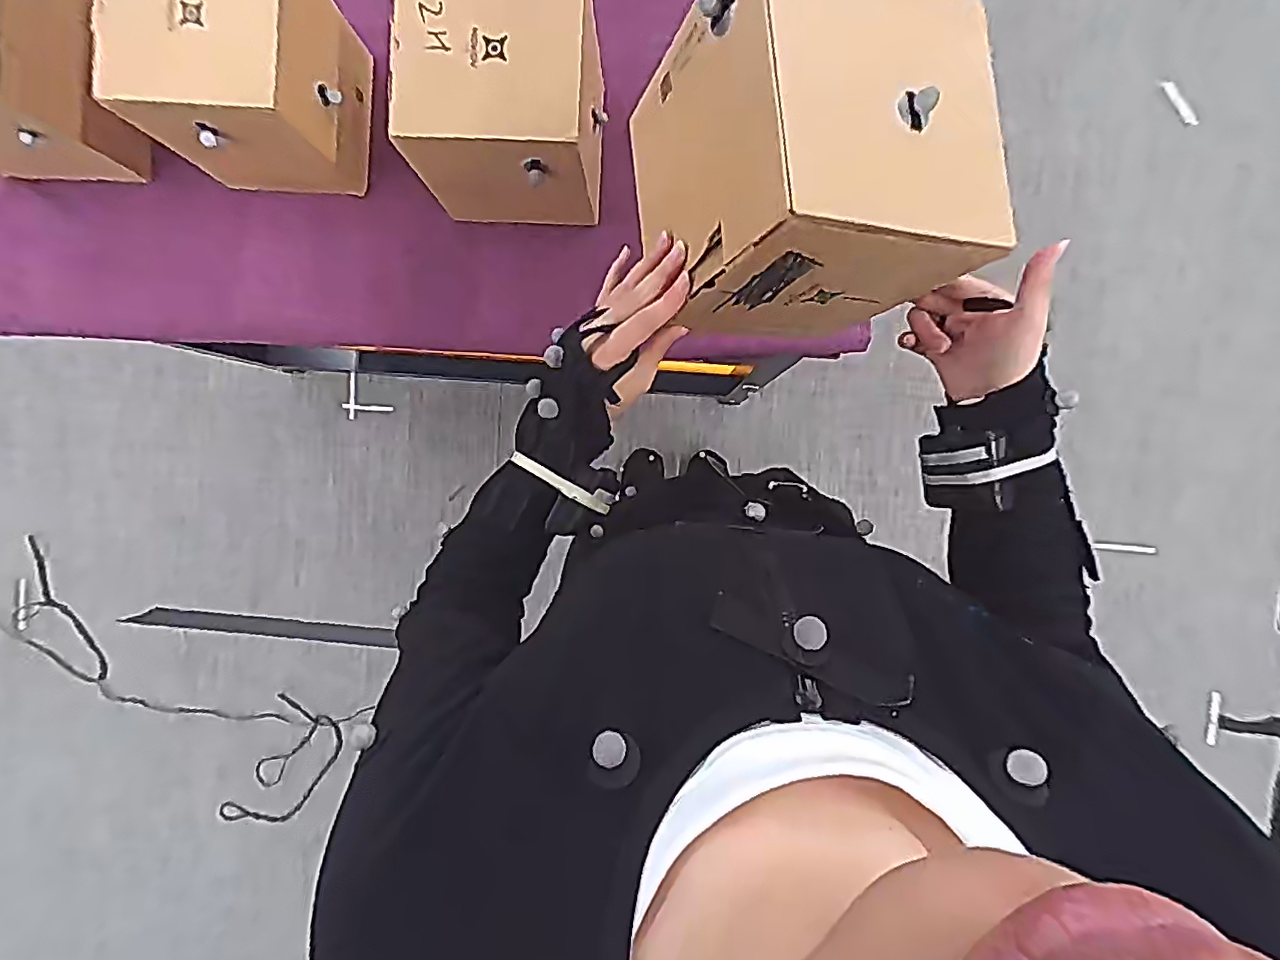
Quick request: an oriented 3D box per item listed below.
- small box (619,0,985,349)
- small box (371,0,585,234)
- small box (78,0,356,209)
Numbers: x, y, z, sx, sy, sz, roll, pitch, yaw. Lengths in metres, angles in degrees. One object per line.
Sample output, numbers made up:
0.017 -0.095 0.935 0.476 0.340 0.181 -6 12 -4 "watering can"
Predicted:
0.094 -0.218 0.392 0.179 0.168 0.176 -1 71 -22 "small box"
-0.153 -0.376 0.566 0.179 0.176 0.168 1 90 2 "small box"
-0.429 -0.409 0.576 0.179 0.176 0.168 3 92 2 "small box"
